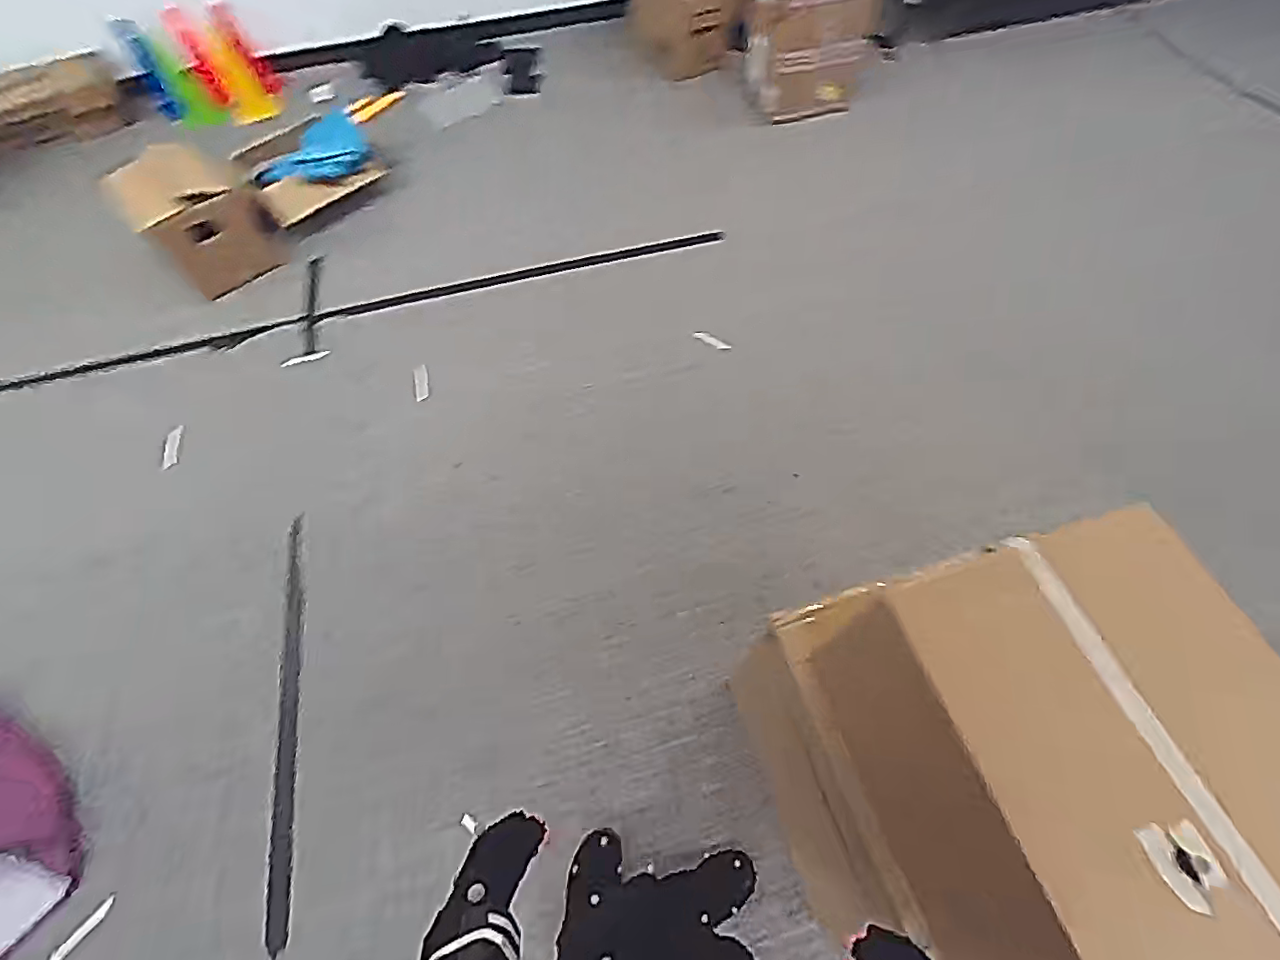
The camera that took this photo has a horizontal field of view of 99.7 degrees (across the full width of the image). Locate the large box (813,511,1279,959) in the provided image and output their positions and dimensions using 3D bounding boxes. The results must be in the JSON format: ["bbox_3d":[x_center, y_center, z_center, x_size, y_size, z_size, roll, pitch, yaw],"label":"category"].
[{"bbox_3d":[0.451,0.306,0.595,0.320,0.320,0.408,-16,62,-6],"label":"large box"}]
